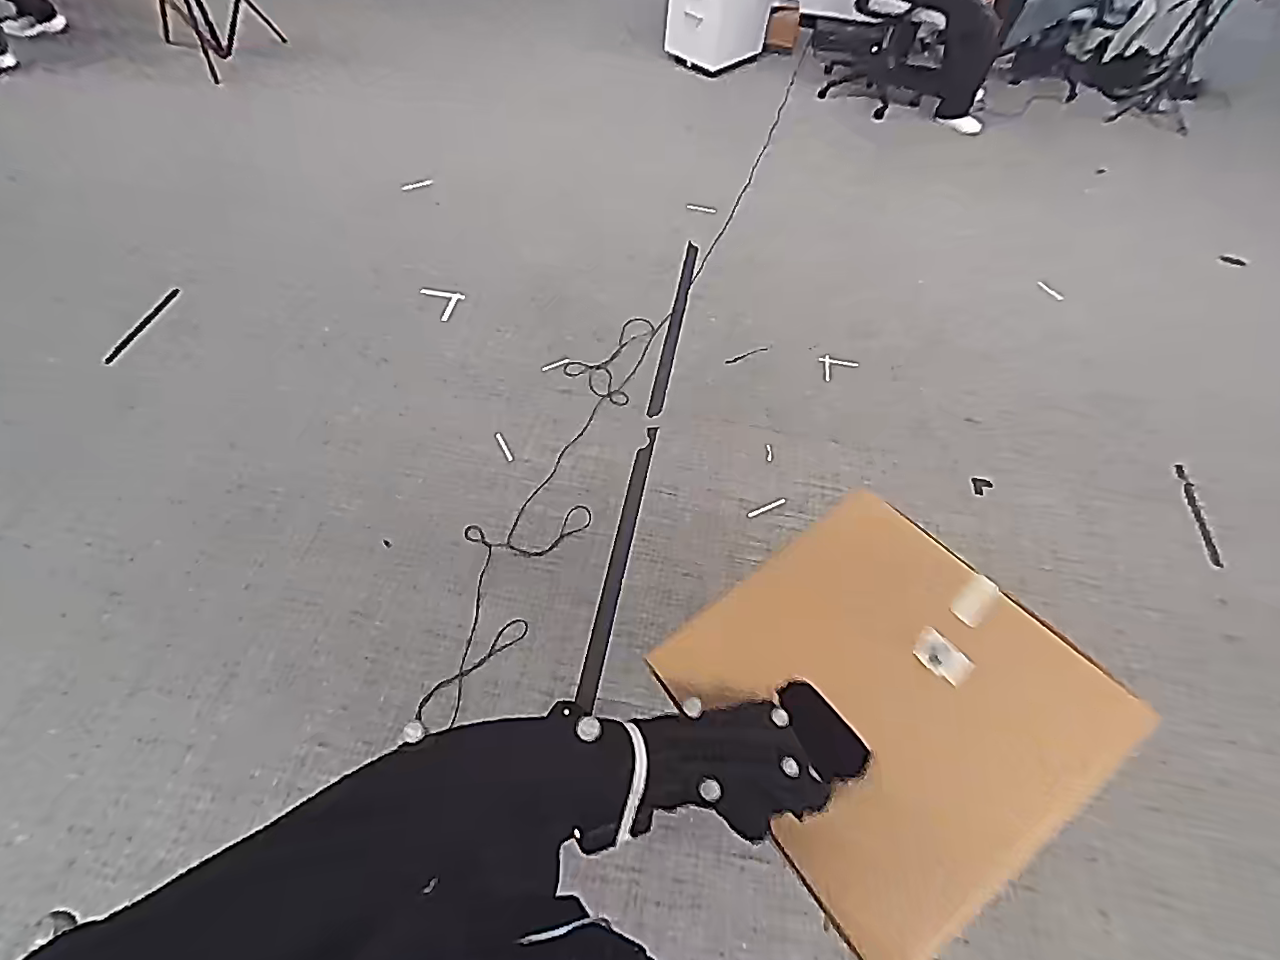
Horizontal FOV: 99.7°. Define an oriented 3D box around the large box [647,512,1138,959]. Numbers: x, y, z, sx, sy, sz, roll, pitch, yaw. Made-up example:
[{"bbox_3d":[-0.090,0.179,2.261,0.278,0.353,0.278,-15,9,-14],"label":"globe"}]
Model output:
[{"bbox_3d":[0.255,0.314,0.652,0.320,0.408,0.320,-33,53,-8],"label":"large box"}]
